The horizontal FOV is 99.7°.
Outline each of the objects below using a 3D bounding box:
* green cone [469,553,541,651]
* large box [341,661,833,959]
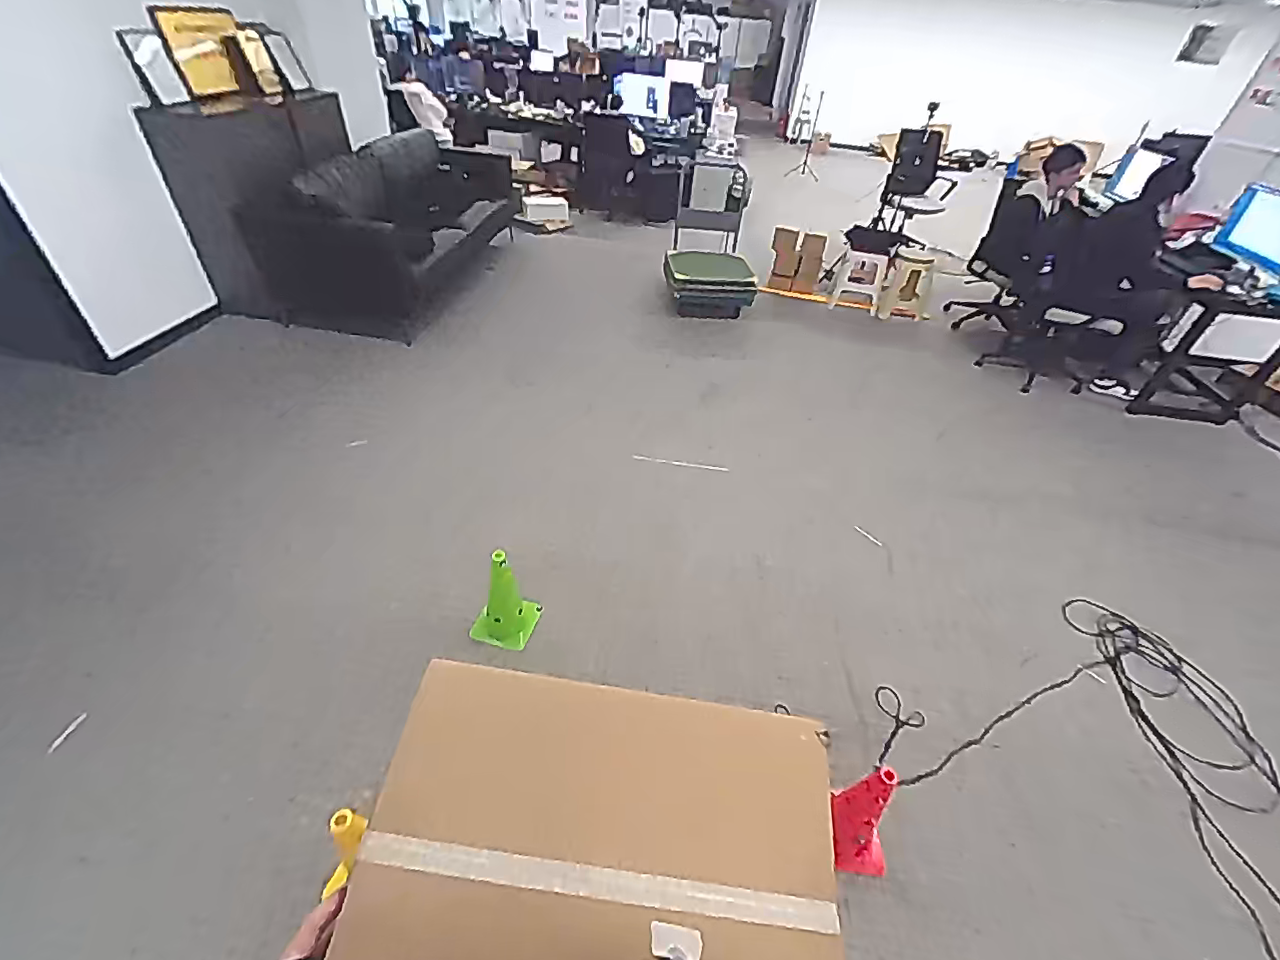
[{"bbox_3d":[-0.462,0.369,1.788,0.200,0.368,0.202,13,42,8],"label":"green cone"},{"bbox_3d":[-0.046,0.423,0.593,0.408,0.320,0.320,9,55,-1],"label":"large box"}]
